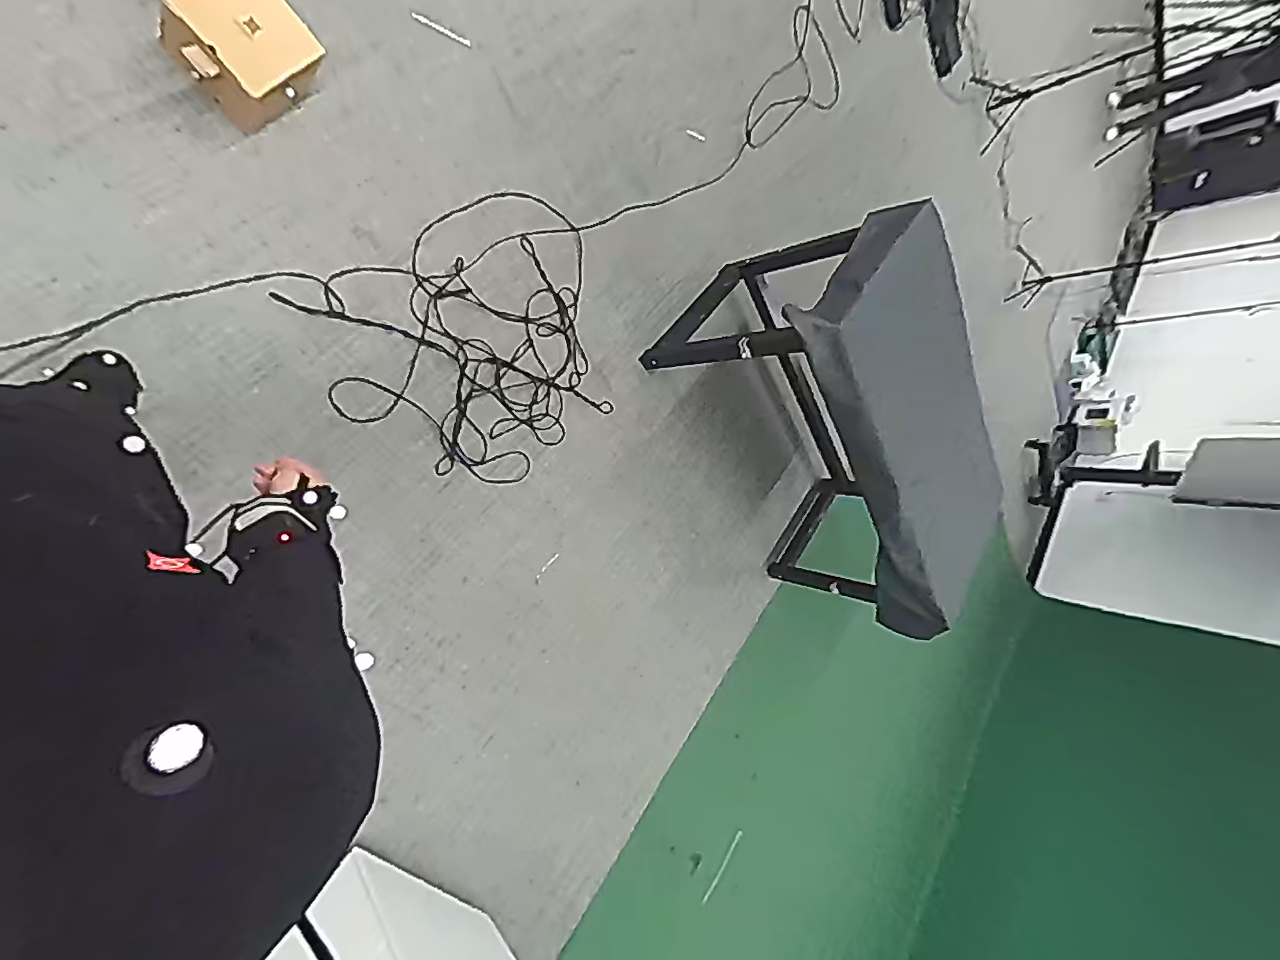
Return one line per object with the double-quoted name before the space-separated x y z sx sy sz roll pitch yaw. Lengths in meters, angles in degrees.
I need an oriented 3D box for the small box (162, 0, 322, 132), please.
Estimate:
"small box" -0.739 -0.796 1.003 0.168 0.176 0.179 49 65 -34
